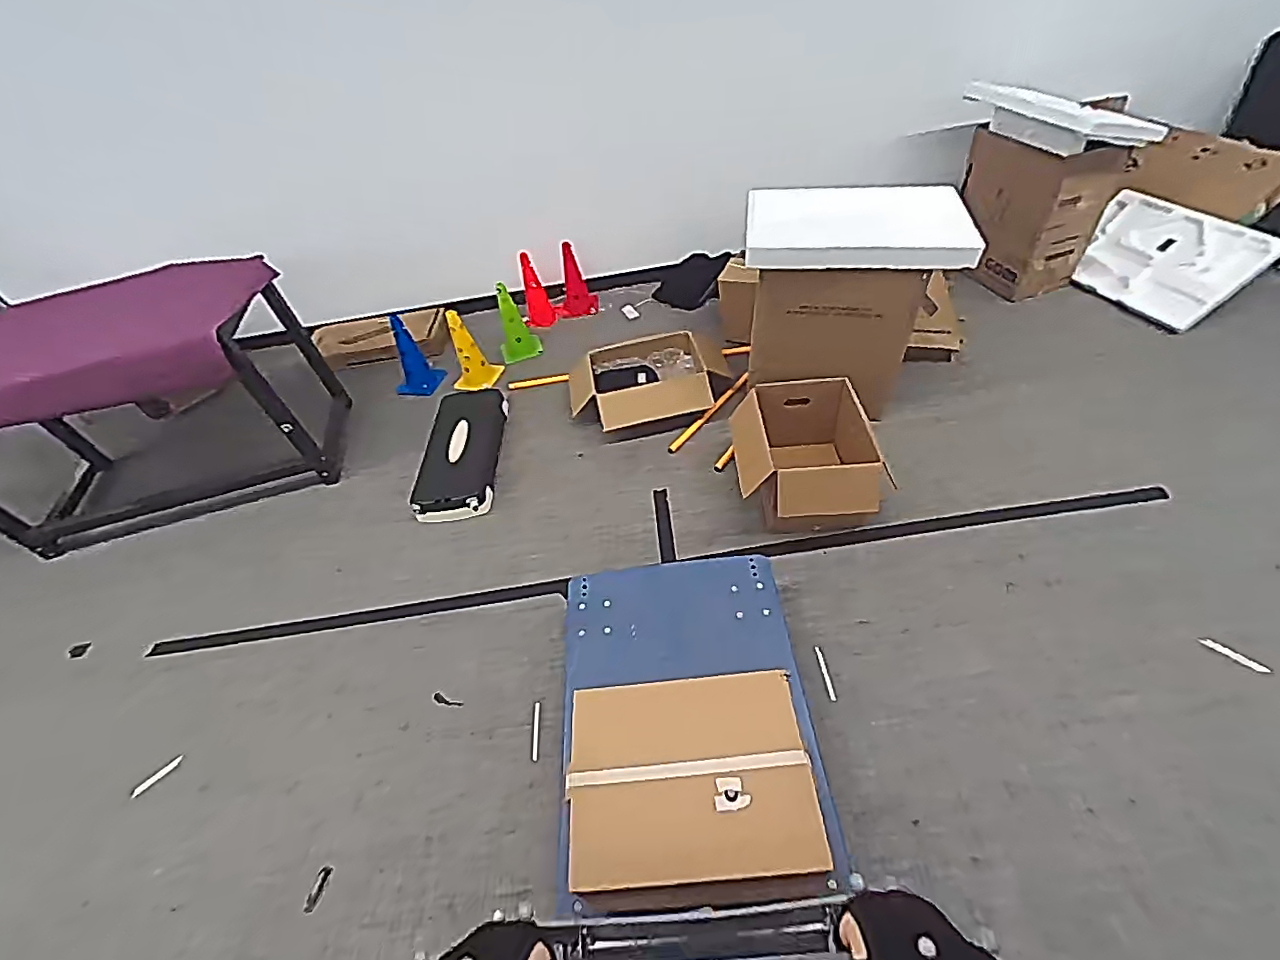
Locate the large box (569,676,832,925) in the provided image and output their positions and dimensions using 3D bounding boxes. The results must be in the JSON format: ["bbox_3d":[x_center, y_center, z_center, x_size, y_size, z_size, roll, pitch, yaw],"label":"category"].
[{"bbox_3d":[0.092,0.602,1.010,0.408,0.320,0.320,-7,47,2],"label":"large box"}]
